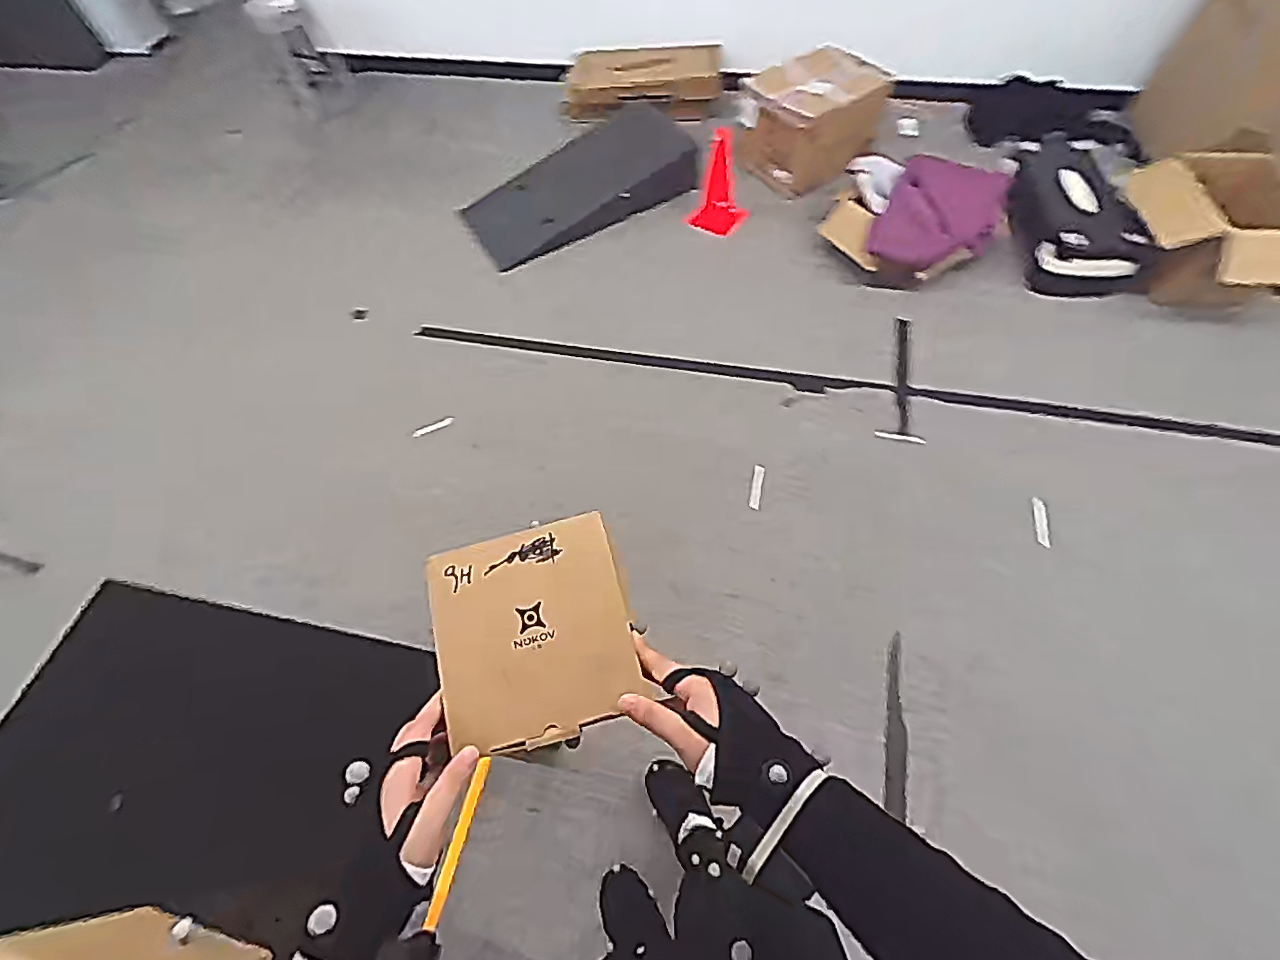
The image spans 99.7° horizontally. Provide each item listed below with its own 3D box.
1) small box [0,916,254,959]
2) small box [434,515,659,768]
[{"bbox_3d":[-0.489,0.515,0.463,0.168,0.176,0.179,10,60,9],"label":"small box"},{"bbox_3d":[-0.080,0.155,0.530,0.168,0.176,0.179,-15,70,-2],"label":"small box"}]
